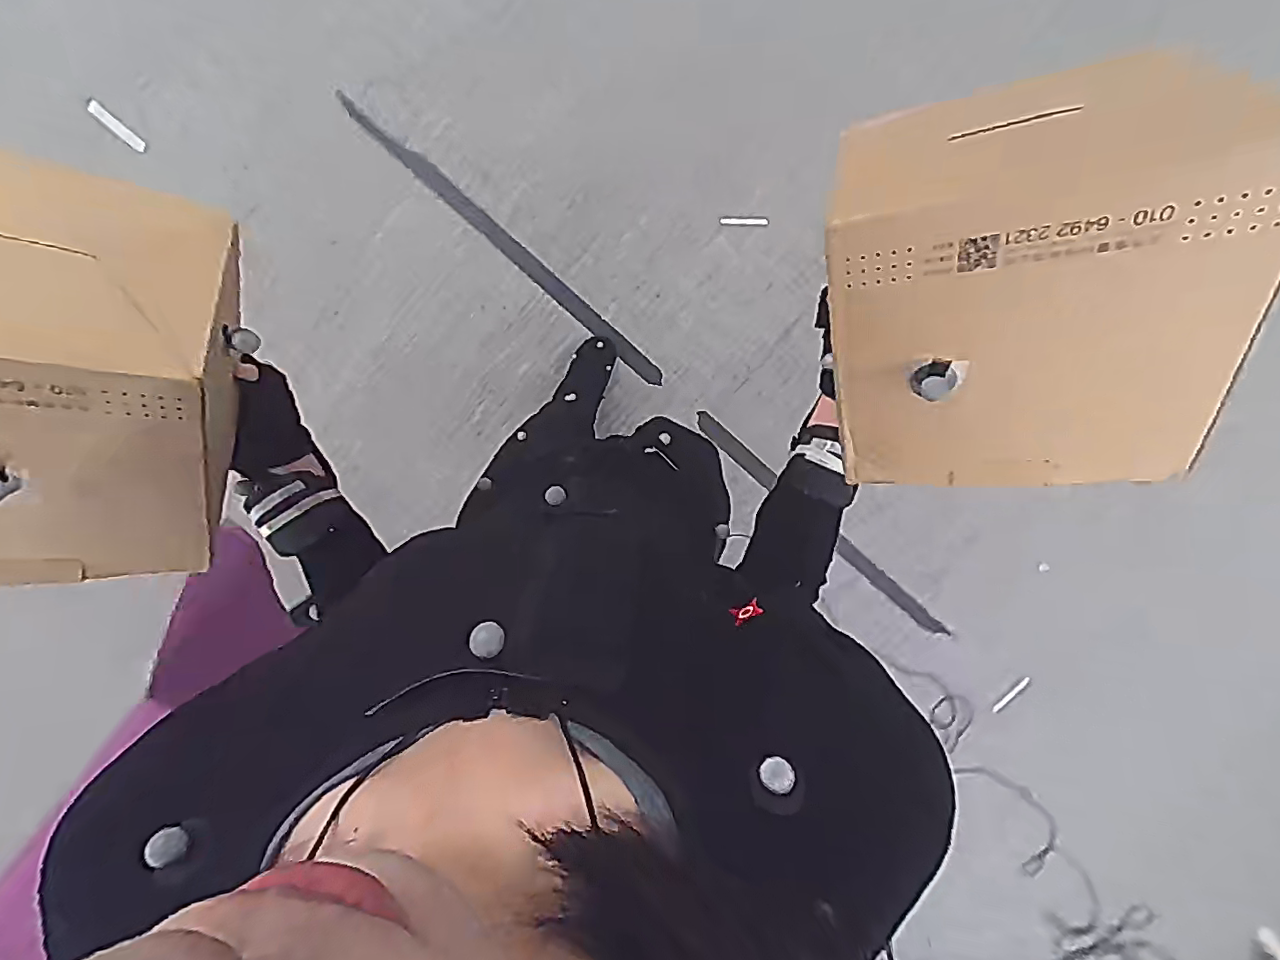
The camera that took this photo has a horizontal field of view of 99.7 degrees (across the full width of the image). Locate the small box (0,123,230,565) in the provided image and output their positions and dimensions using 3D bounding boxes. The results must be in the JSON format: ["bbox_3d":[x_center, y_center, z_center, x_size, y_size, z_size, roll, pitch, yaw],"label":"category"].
[{"bbox_3d":[-0.335,-0.071,0.293,0.168,0.179,0.176,5,136,-33],"label":"small box"}]
